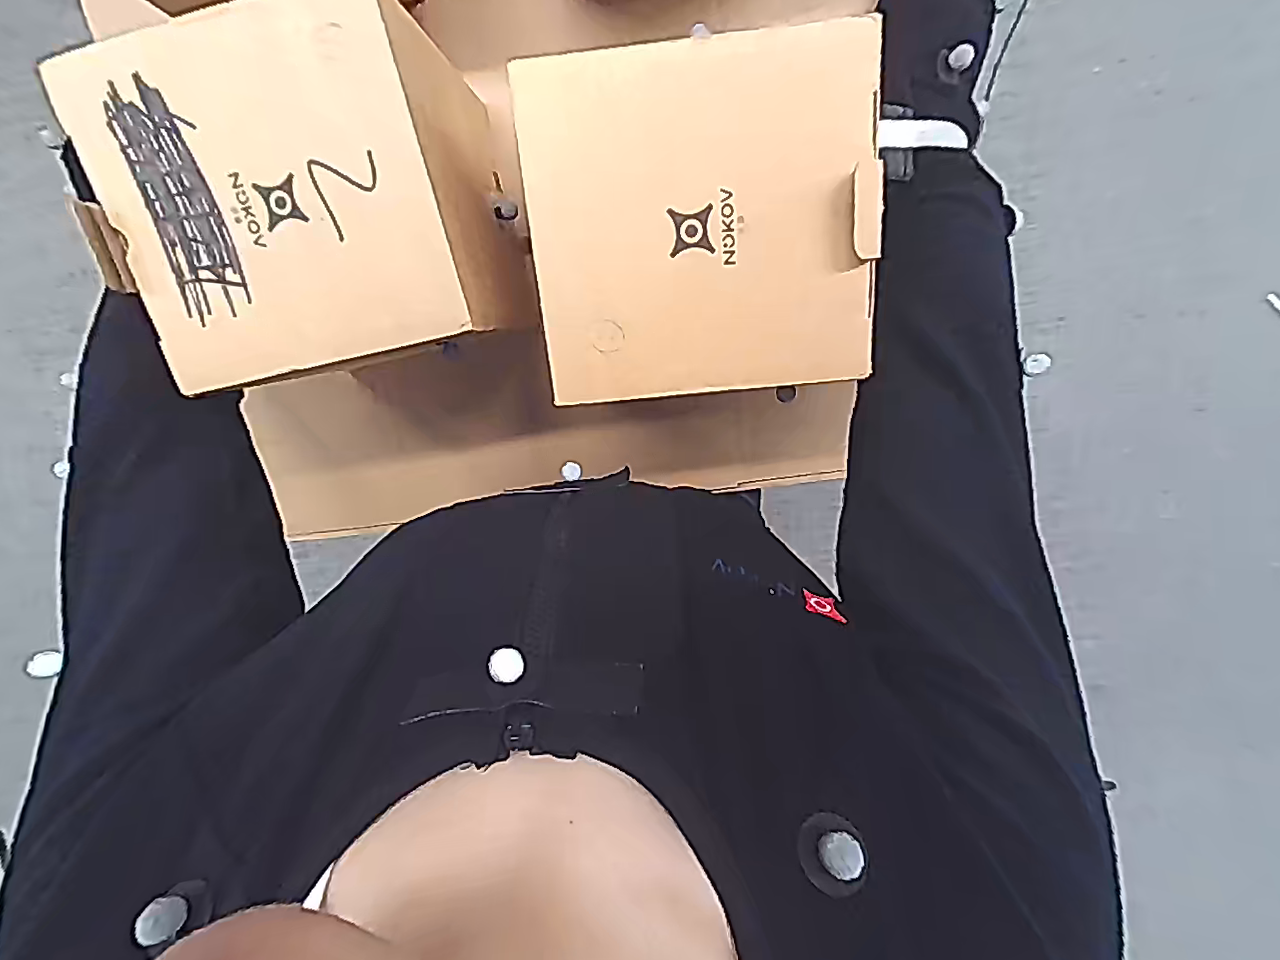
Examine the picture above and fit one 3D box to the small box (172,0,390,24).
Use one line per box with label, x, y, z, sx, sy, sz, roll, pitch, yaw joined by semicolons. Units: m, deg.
small box;-0.251;-0.396;0.296;0.168;0.176;0.179;-8;104;4
